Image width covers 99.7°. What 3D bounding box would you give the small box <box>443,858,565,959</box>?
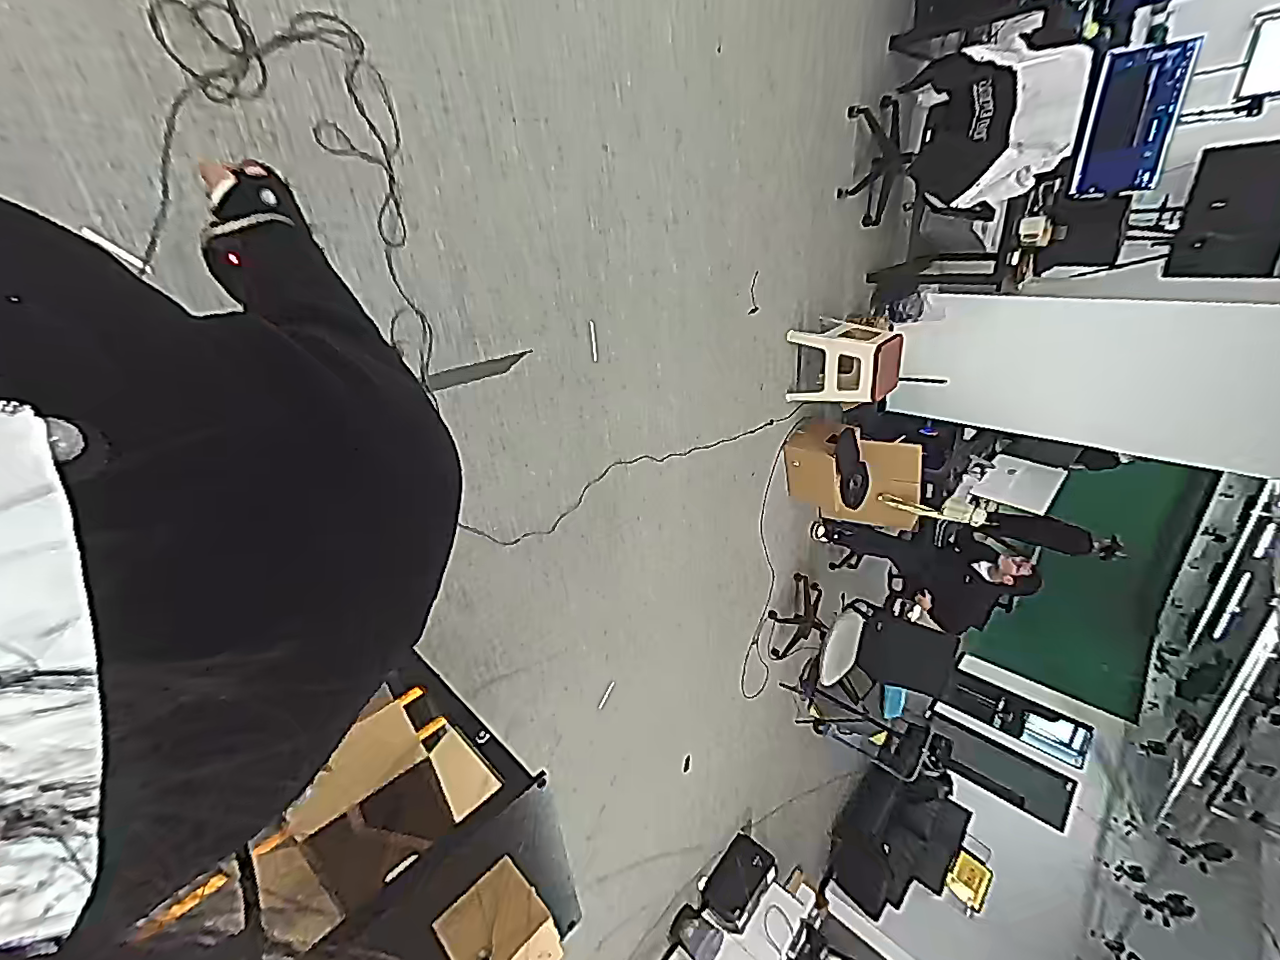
[{"bbox_3d":[-0.283,0.943,1.111,0.179,0.176,0.168,-29,125,-37],"label":"small box"}]
